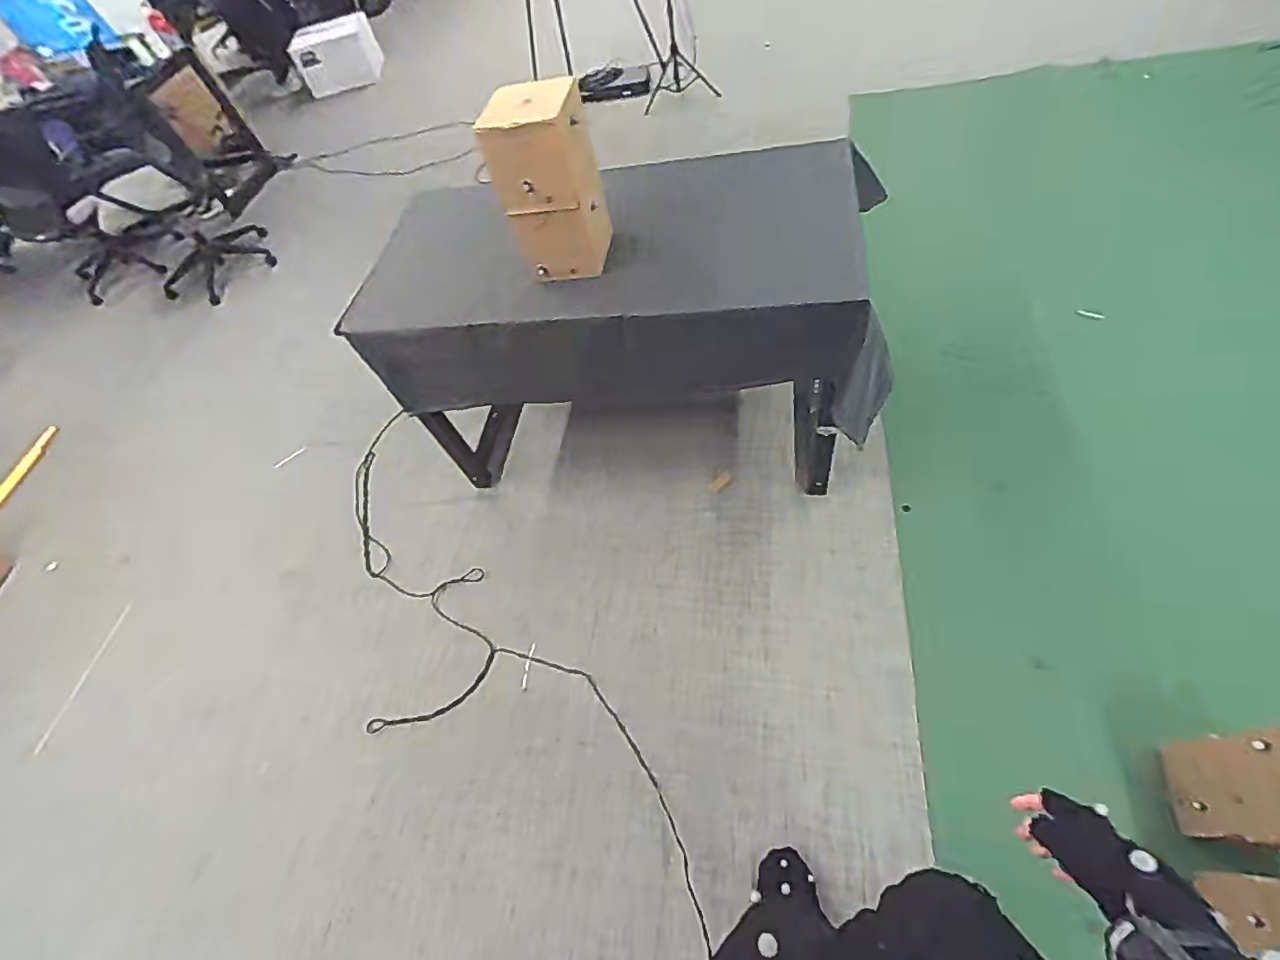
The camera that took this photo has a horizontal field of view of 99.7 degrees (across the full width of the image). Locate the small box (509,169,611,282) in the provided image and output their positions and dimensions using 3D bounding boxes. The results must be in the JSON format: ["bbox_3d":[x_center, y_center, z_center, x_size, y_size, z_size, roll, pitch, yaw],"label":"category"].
[{"bbox_3d":[-0.172,-0.569,1.227,0.168,0.176,0.179,0,56,13],"label":"small box"}]

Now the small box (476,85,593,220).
[{"bbox_3d":[-0.202,-0.657,1.094,0.168,0.176,0.179,1,57,13],"label":"small box"}]

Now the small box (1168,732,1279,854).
[{"bbox_3d":[1.156,0.596,1.022,0.179,0.176,0.168,5,58,17],"label":"small box"}]
